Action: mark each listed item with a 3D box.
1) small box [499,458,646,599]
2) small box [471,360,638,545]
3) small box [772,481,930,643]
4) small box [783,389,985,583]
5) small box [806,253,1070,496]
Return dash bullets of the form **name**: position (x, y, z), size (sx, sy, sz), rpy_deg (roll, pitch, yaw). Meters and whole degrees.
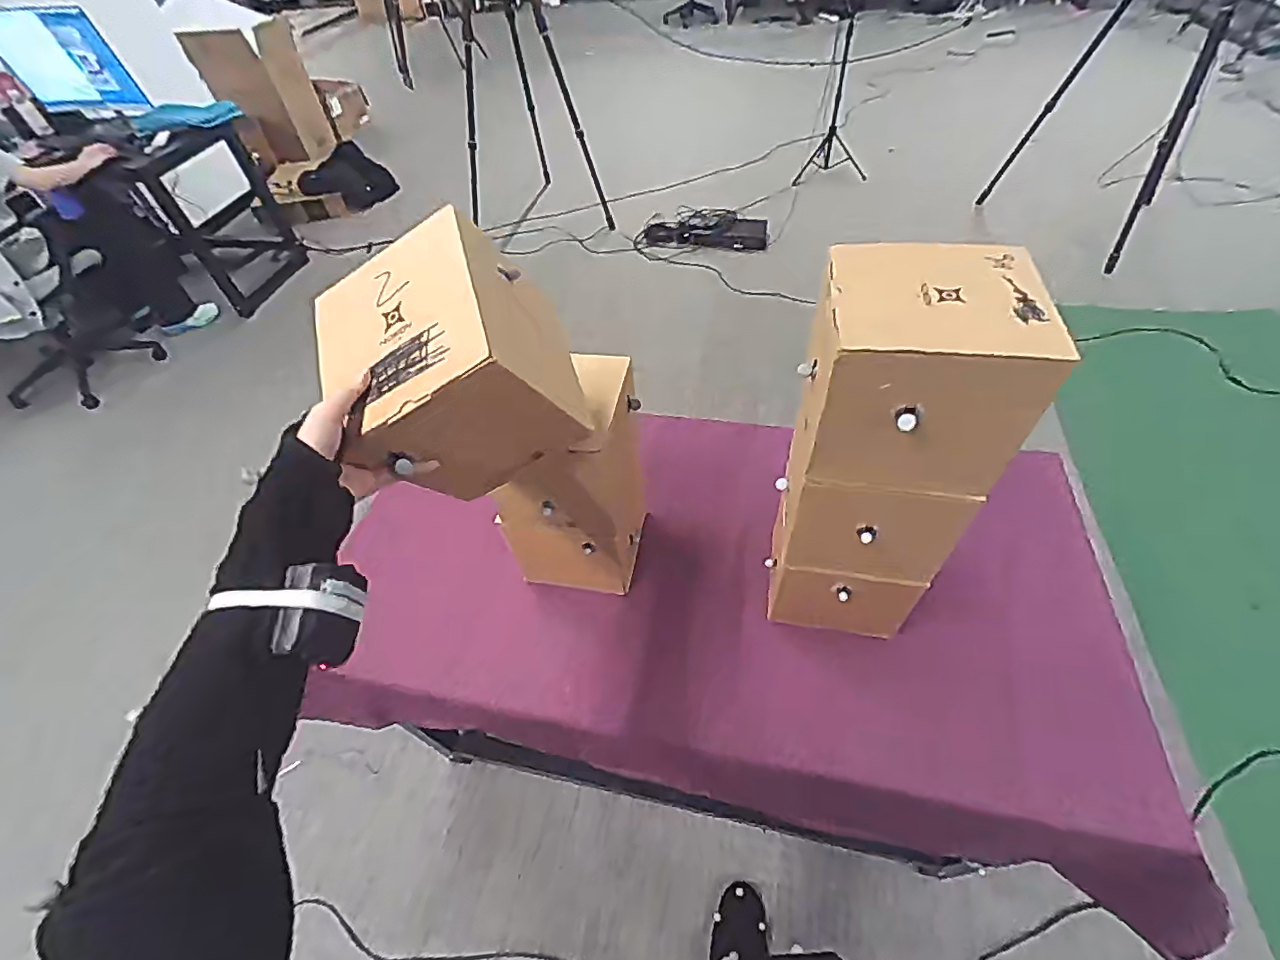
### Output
- **small box**: position (-0.094, 0.071, 0.853), size (0.179, 0.176, 0.168), rpy_deg (5, 50, 10)
- **small box**: position (-0.098, -0.038, 0.729), size (0.168, 0.176, 0.179), rpy_deg (5, 50, 10)
- **small box**: position (0.287, 0.115, 0.773), size (0.179, 0.176, 0.168), rpy_deg (7, 51, 11)
- **small box**: position (0.274, 0.008, 0.649), size (0.179, 0.176, 0.168), rpy_deg (5, 51, 12)
- **small box**: position (0.259, -0.100, 0.526), size (0.179, 0.176, 0.168), rpy_deg (4, 51, 11)
